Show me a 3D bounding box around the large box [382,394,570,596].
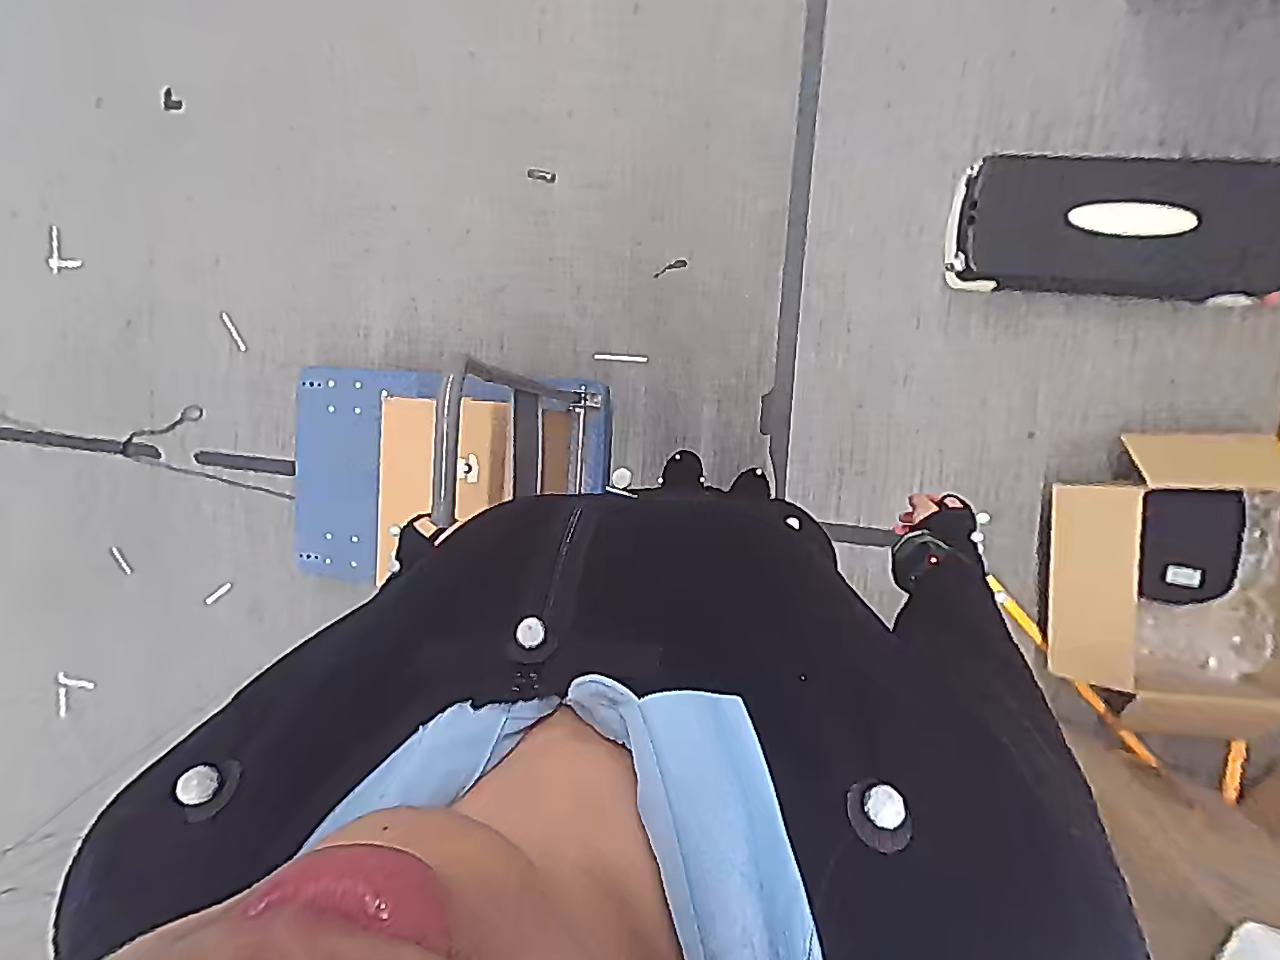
[{"bbox_3d":[-0.362,0.024,1.257,0.320,0.320,0.408,5,94,9],"label":"large box"}]
